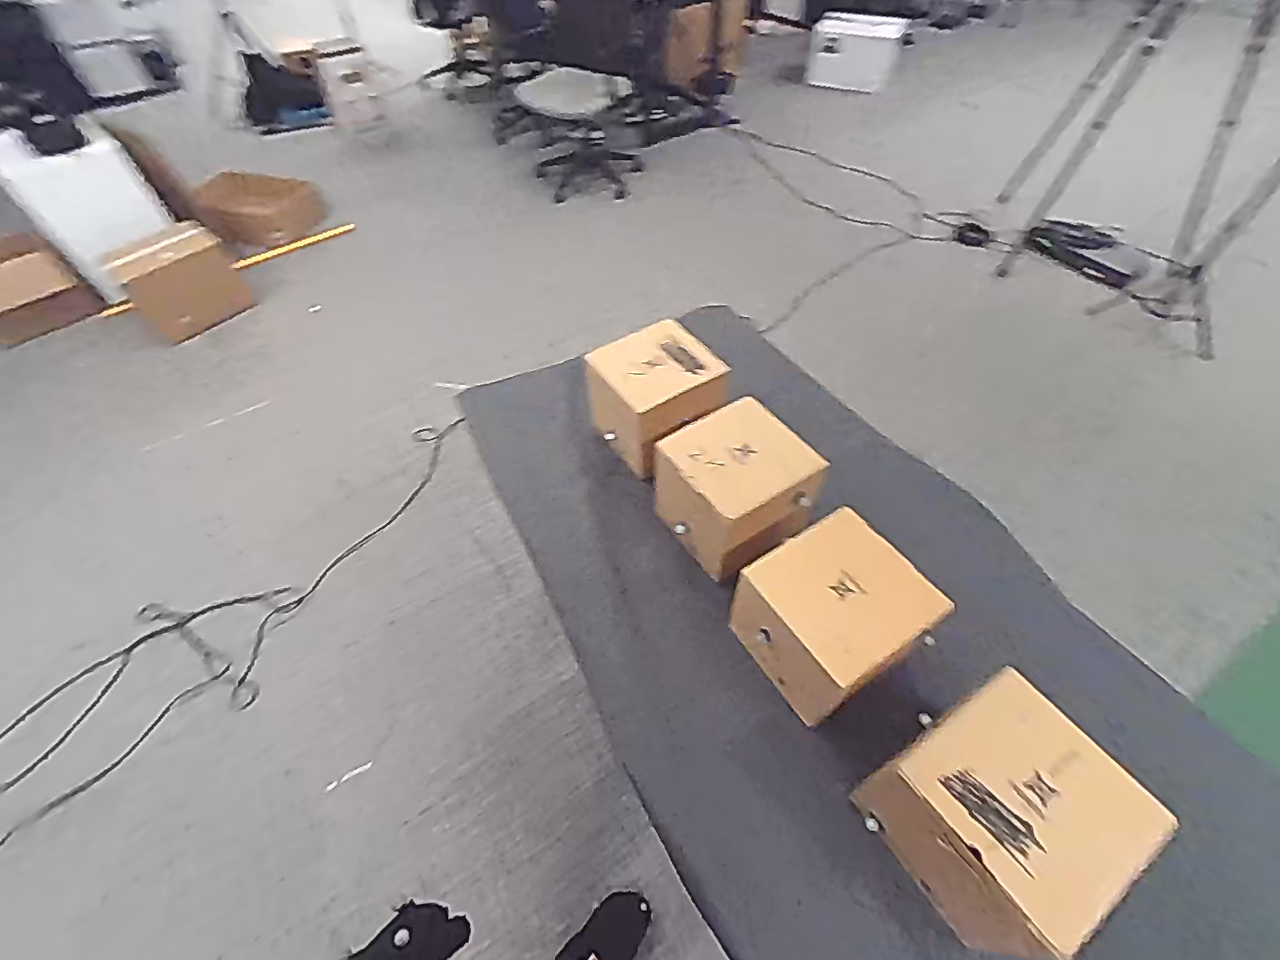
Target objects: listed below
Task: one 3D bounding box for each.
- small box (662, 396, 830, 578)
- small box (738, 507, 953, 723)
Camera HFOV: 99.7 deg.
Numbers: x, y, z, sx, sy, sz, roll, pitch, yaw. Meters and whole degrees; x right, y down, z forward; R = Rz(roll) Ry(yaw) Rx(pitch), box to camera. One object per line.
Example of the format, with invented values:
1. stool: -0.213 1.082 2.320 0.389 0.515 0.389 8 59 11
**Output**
1. small box: 0.144 0.012 0.805 0.179 0.176 0.168 -28 56 -18
2. small box: 0.238 0.173 0.679 0.179 0.176 0.168 -27 56 -19
